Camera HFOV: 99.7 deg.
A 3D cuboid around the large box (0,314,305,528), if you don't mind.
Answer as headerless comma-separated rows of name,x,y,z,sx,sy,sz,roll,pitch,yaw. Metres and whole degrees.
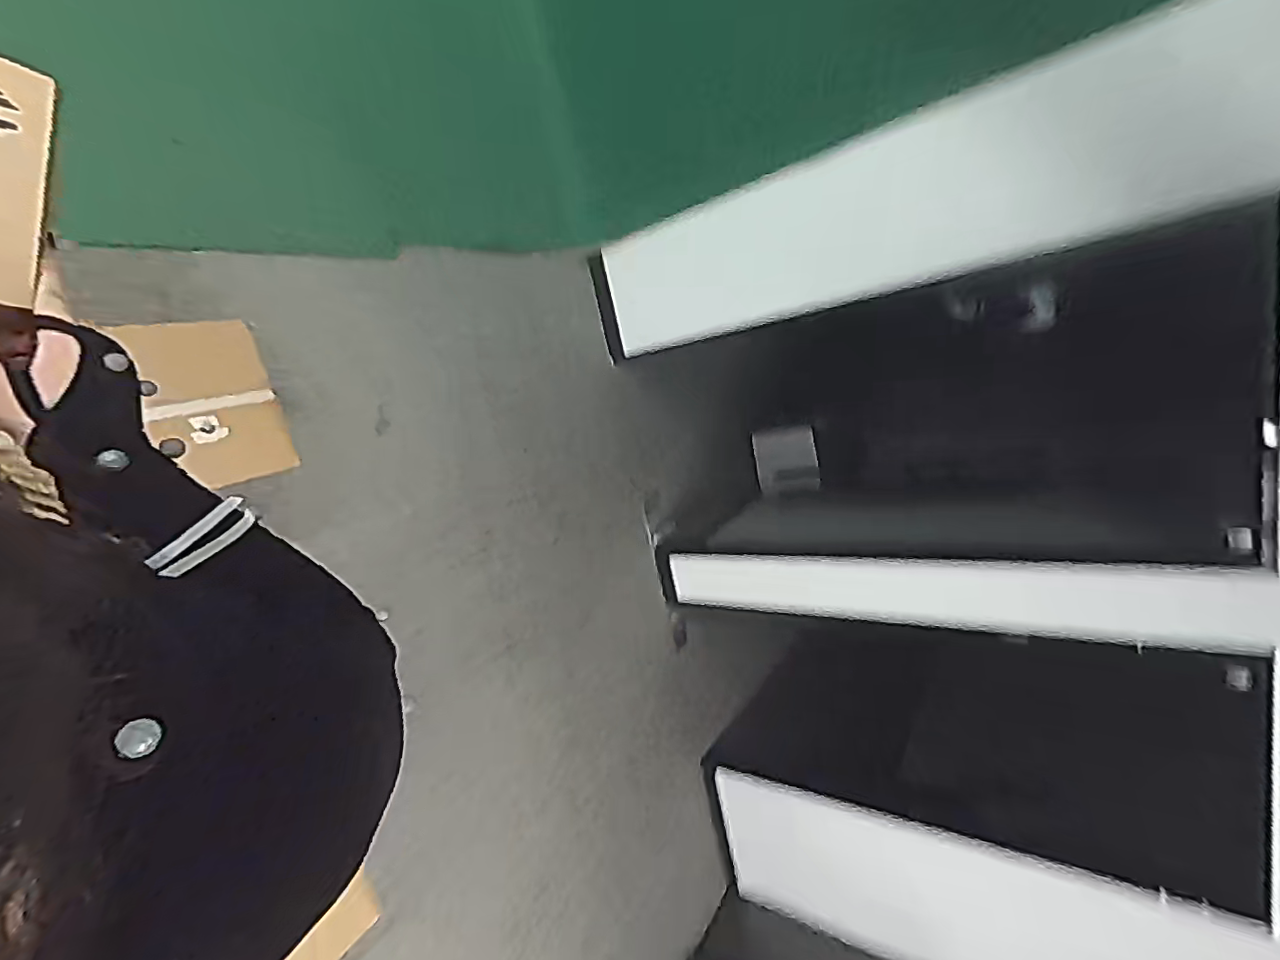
large box,-0.980,-0.120,1.064,0.408,0.320,0.320,-28,108,-51
